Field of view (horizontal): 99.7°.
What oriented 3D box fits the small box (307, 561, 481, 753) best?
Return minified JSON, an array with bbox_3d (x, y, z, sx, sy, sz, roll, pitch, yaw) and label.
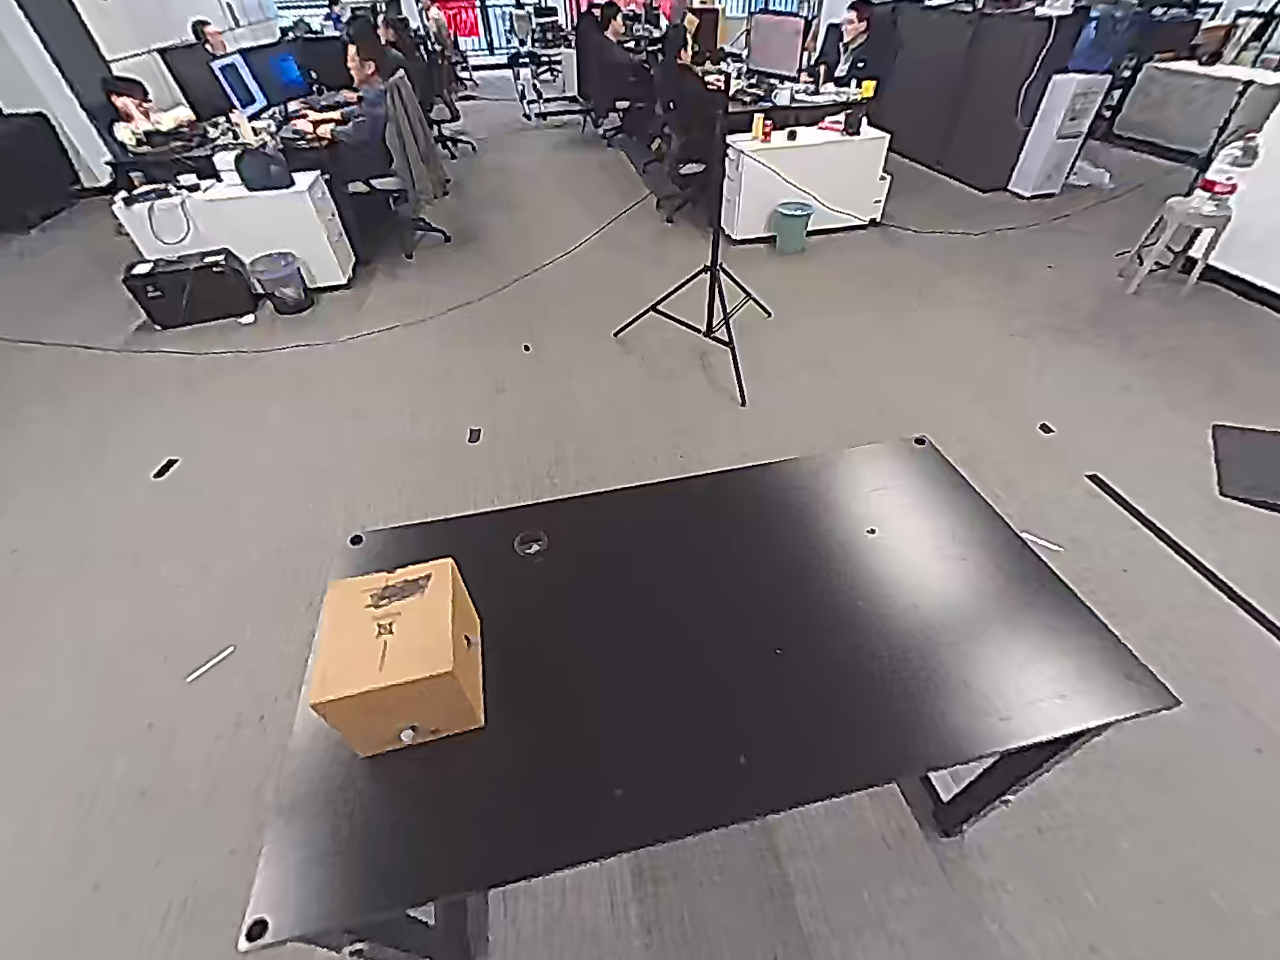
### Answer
[{"bbox_3d":[-0.323,0.244,0.748,0.168,0.176,0.179,-11,46,-9],"label":"small box"}]
